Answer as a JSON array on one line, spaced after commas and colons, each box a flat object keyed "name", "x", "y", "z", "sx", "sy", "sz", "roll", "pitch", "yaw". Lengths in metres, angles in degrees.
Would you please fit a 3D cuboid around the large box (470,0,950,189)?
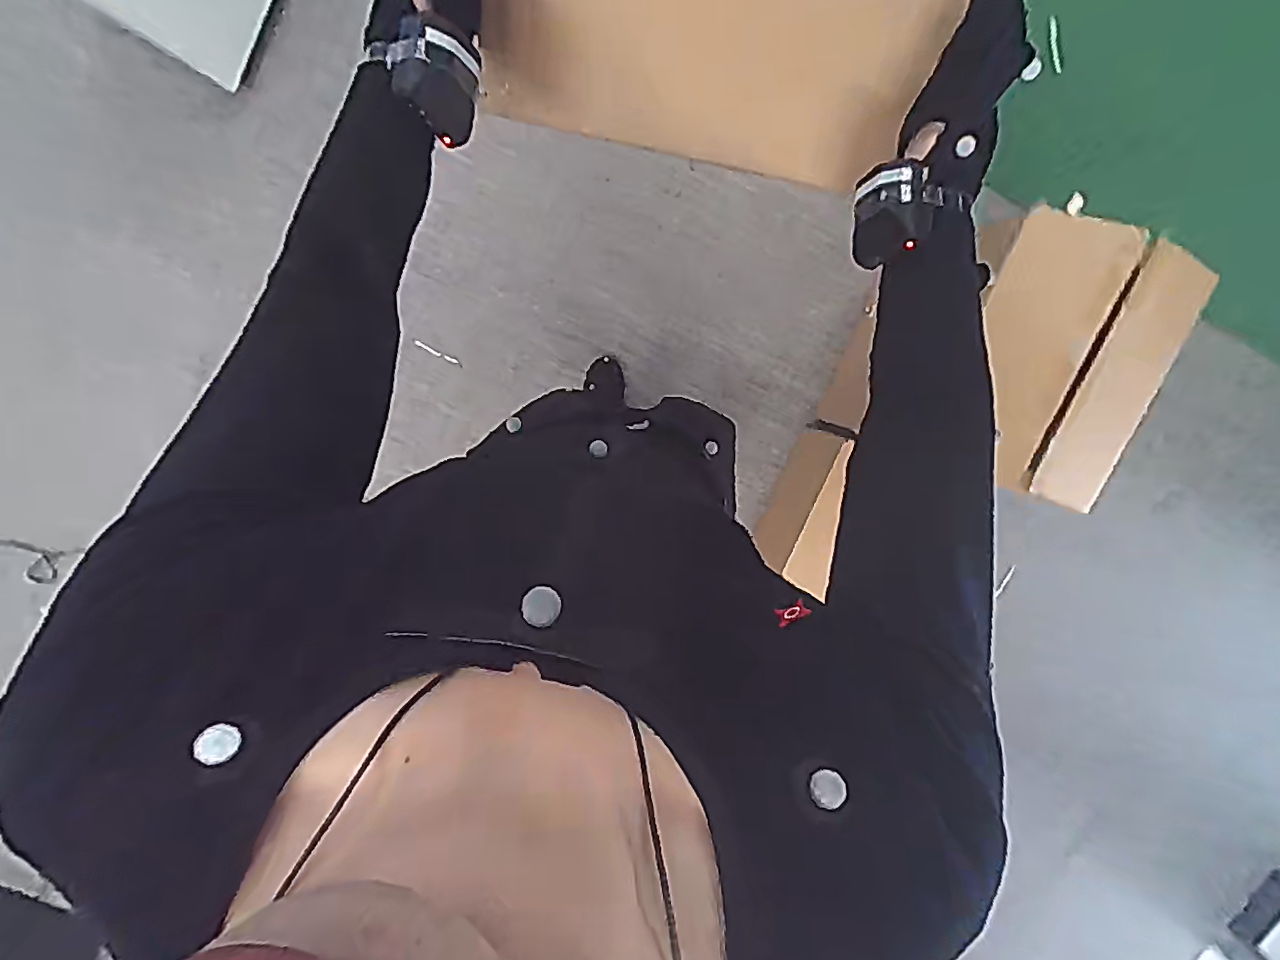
[{"name": "large box", "x": 0.081, "y": -0.513, "z": 0.548, "sx": 0.408, "sy": 0.320, "sz": 0.320, "roll": 13, "pitch": 123, "yaw": 3}]
